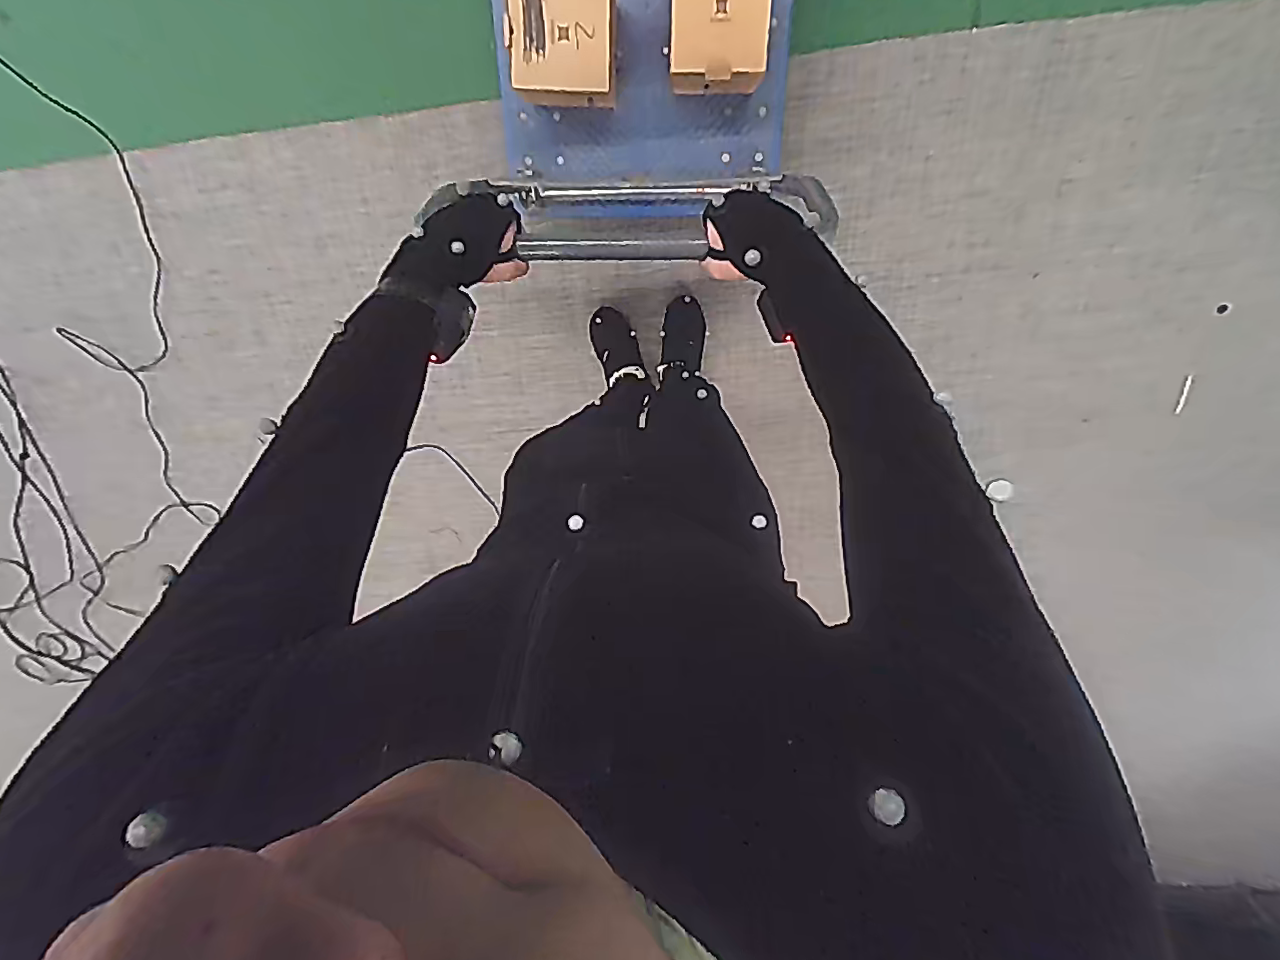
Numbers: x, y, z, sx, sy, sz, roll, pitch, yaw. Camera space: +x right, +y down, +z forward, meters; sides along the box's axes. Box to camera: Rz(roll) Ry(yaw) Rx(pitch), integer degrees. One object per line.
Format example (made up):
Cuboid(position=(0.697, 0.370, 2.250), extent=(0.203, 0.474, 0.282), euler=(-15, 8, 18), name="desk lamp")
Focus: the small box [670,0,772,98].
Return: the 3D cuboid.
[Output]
Cuboid(position=(0.139, -0.812, 0.976), extent=(0.168, 0.176, 0.179), euler=(1, 117, 3), name="small box")
